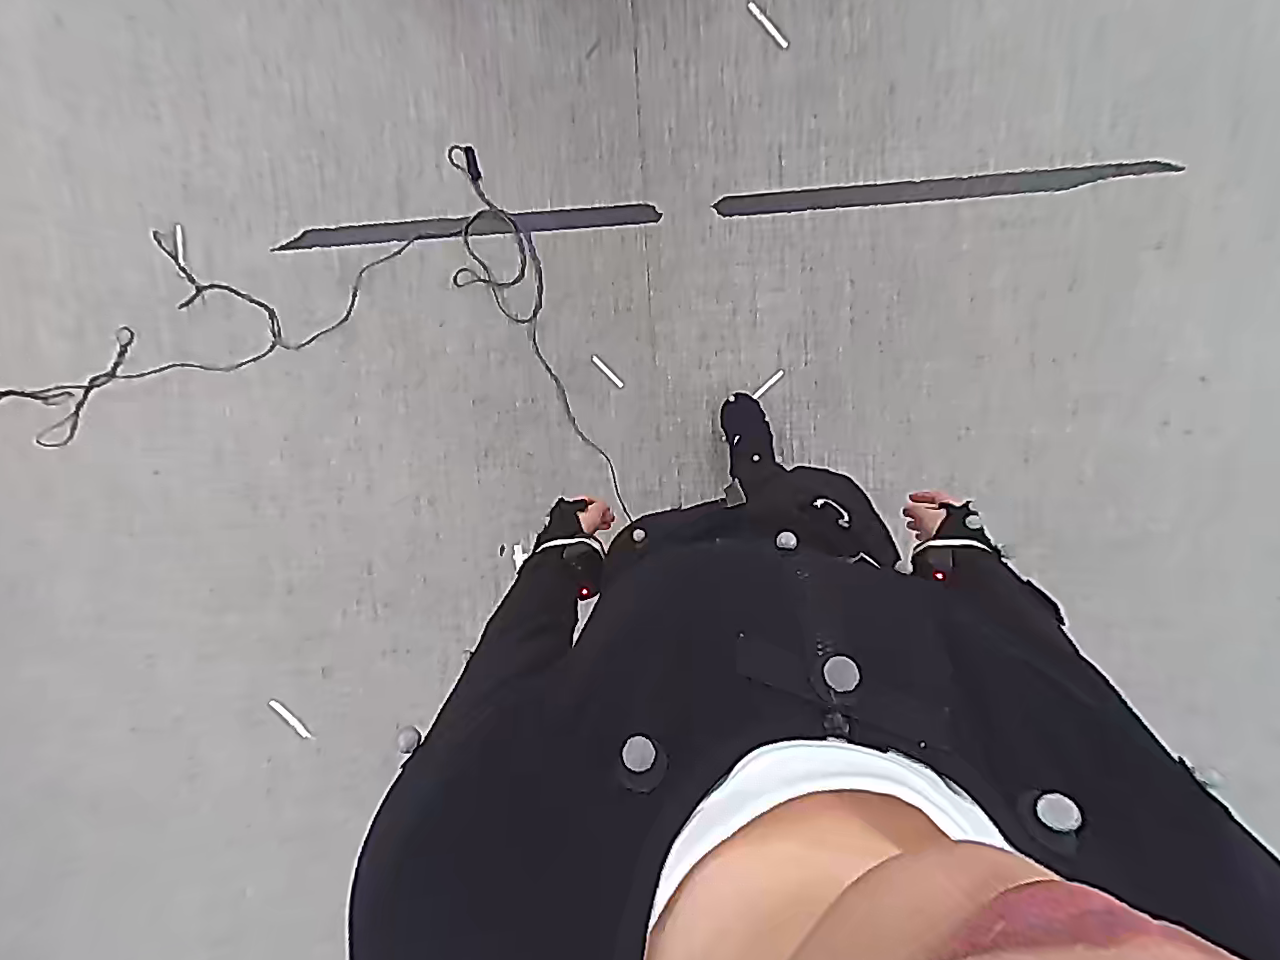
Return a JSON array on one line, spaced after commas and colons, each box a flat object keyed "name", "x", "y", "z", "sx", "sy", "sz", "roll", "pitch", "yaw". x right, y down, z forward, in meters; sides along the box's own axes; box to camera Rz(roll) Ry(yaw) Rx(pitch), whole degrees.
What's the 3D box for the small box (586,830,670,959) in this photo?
[{"name": "small box", "x": -0.020, "y": 0.897, "z": 1.166, "sx": 0.168, "sy": 0.176, "sz": 0.179, "roll": 0, "pitch": 92, "yaw": 5}]
